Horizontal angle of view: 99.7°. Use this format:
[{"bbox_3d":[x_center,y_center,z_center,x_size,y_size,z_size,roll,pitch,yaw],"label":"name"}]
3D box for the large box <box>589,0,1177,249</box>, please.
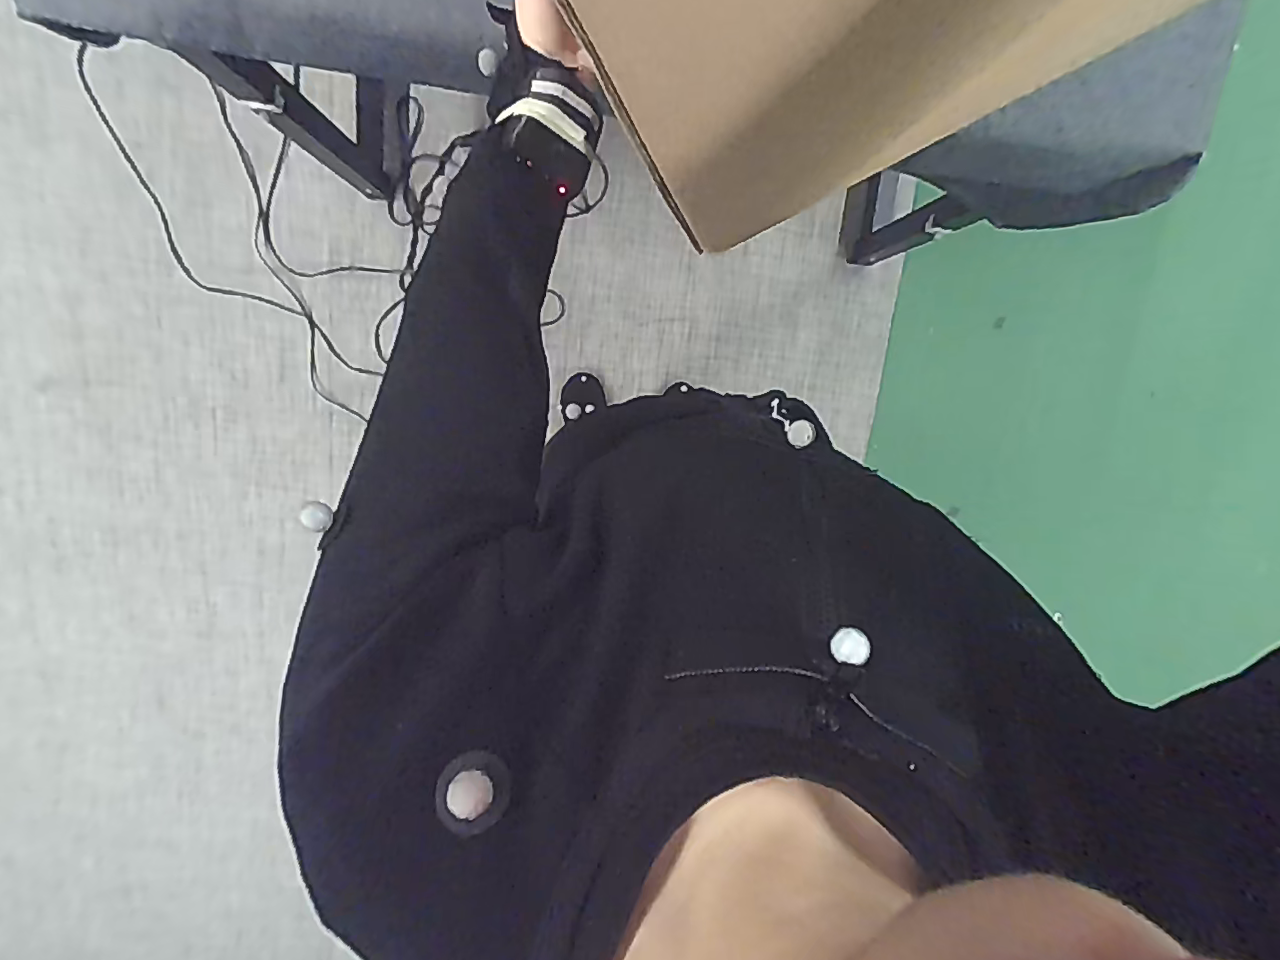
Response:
[{"bbox_3d":[0.125,-0.378,0.199,0.408,0.320,0.320,-24,74,19],"label":"large box"}]
